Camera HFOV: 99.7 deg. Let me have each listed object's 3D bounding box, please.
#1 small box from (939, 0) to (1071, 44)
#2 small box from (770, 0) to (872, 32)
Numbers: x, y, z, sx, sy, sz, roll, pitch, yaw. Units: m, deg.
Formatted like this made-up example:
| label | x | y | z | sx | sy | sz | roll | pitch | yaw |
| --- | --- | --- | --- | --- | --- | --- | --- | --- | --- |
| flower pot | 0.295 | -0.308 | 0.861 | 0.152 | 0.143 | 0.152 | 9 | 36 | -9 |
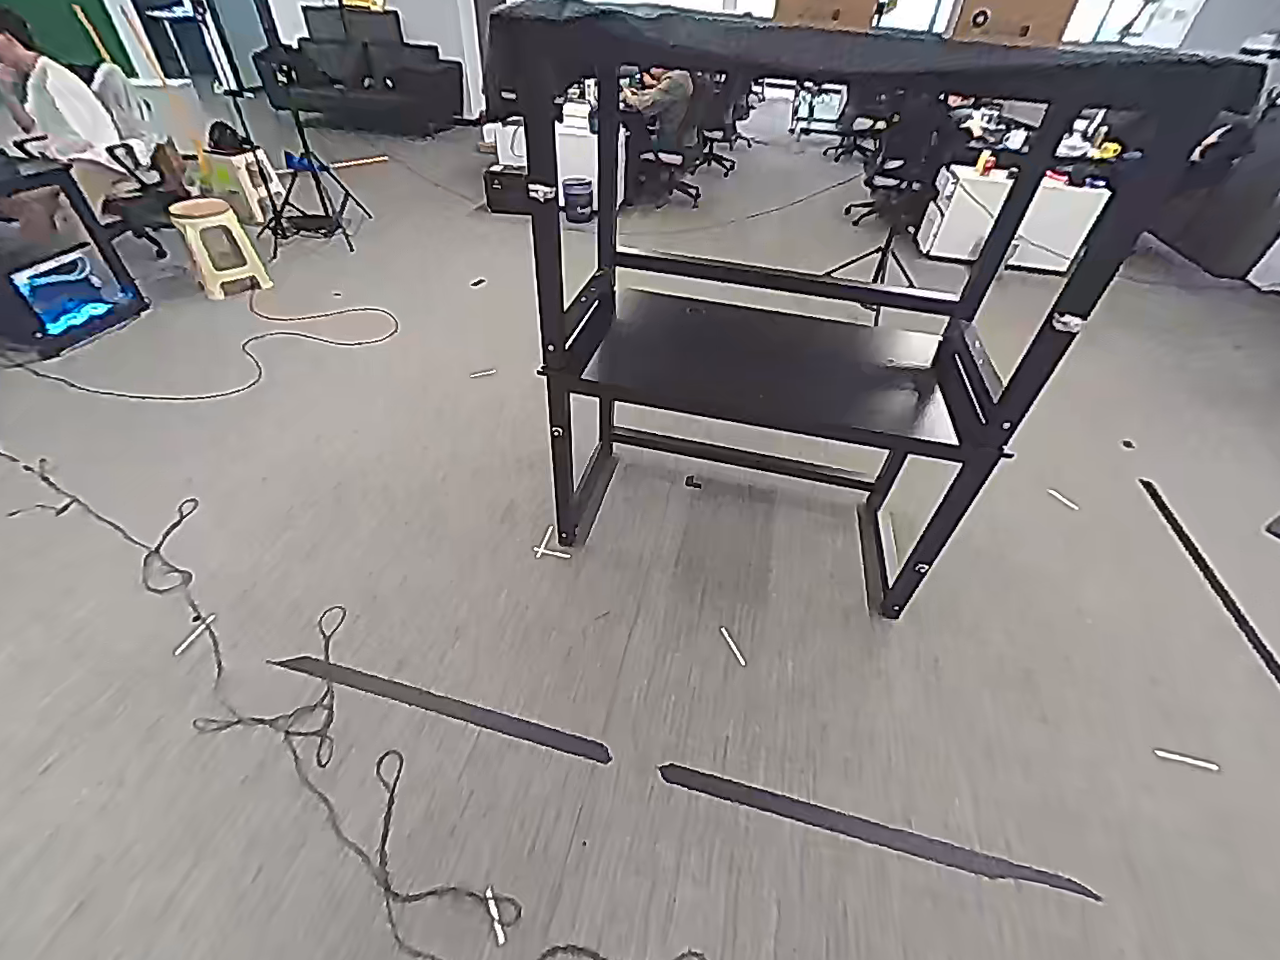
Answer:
| label | x | y | z | sx | sy | sz | roll | pitch | yaw |
| --- | --- | --- | --- | --- | --- | --- | --- | --- | --- |
| small box | 0.617 | -0.830 | 0.890 | 0.168 | 0.176 | 0.179 | 14 | 41 | 11 |
| small box | 0.325 | -0.886 | 0.927 | 0.168 | 0.176 | 0.179 | 12 | 41 | 9 |
